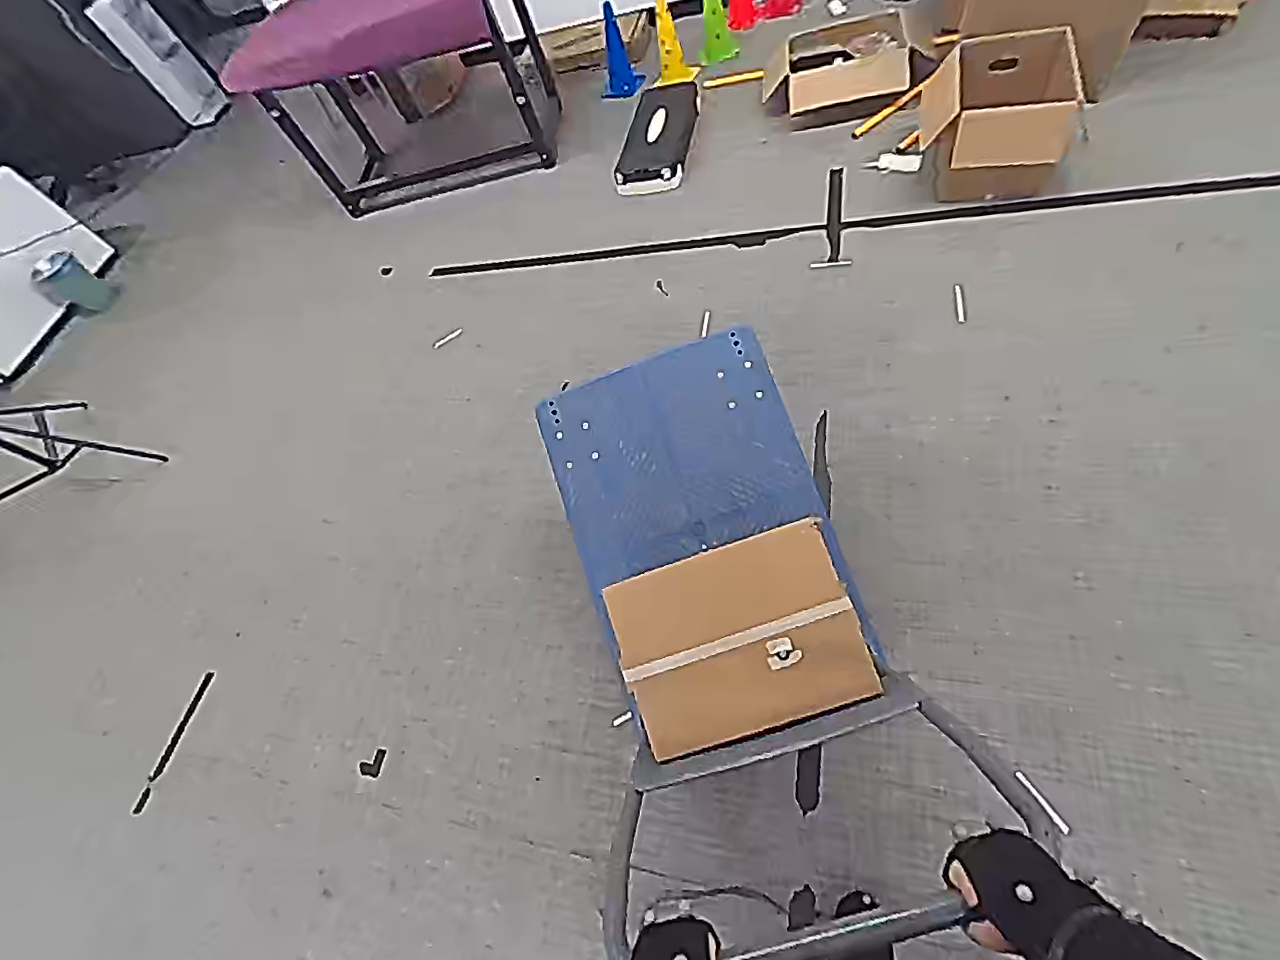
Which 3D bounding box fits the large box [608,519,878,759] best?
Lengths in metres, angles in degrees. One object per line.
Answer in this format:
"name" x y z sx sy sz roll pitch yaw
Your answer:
"large box" 0.189 0.302 1.104 0.408 0.320 0.320 -20 81 3
